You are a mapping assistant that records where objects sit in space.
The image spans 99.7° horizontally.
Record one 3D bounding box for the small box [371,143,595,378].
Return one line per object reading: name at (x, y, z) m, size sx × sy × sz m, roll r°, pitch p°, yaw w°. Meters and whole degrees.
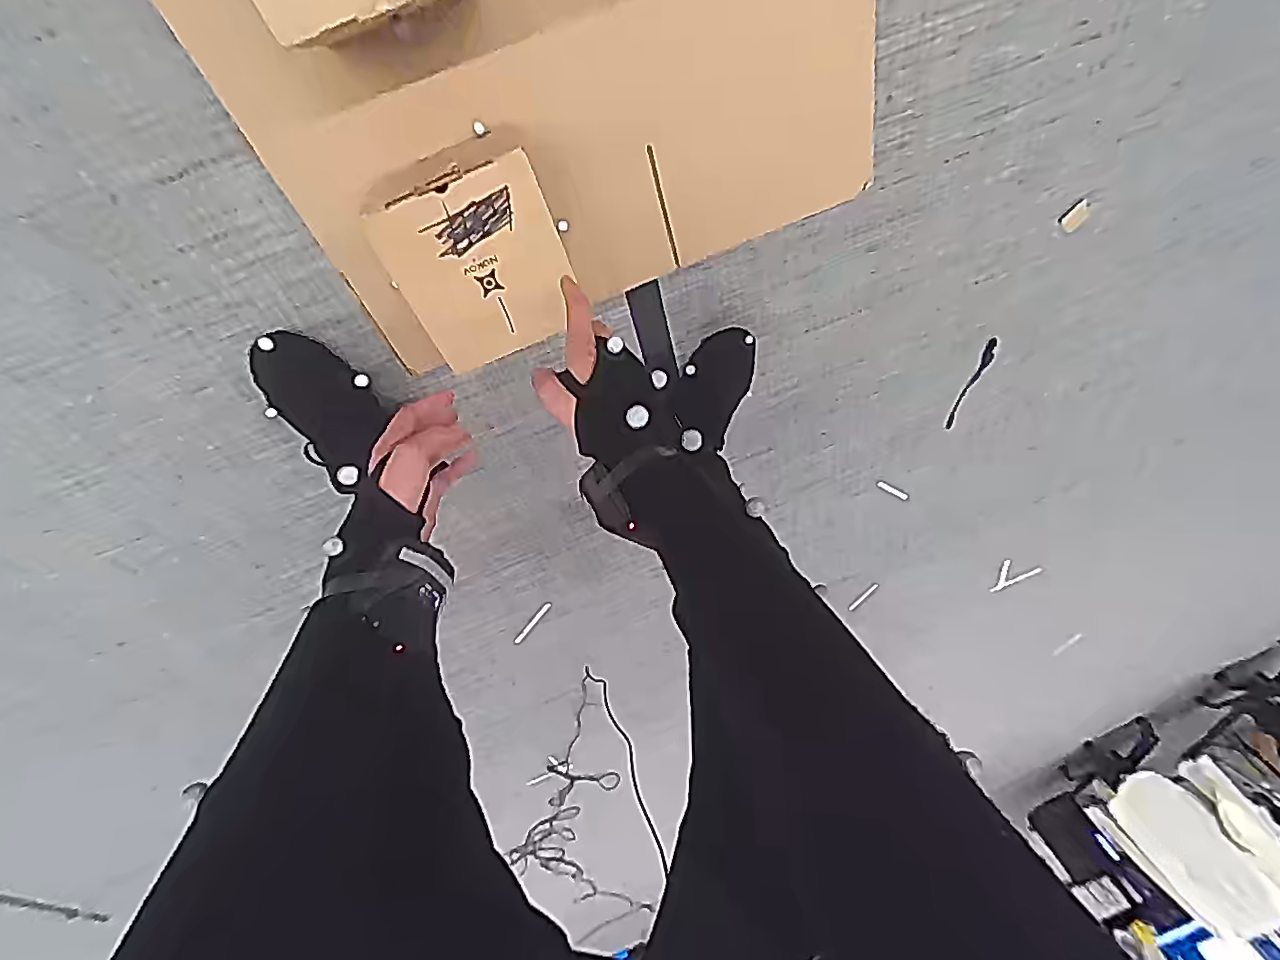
small box at (-0.168, -0.251, 0.604) m, size 0.168 × 0.176 × 0.179 m, roll -23°, pitch 133°, yaw 0°
